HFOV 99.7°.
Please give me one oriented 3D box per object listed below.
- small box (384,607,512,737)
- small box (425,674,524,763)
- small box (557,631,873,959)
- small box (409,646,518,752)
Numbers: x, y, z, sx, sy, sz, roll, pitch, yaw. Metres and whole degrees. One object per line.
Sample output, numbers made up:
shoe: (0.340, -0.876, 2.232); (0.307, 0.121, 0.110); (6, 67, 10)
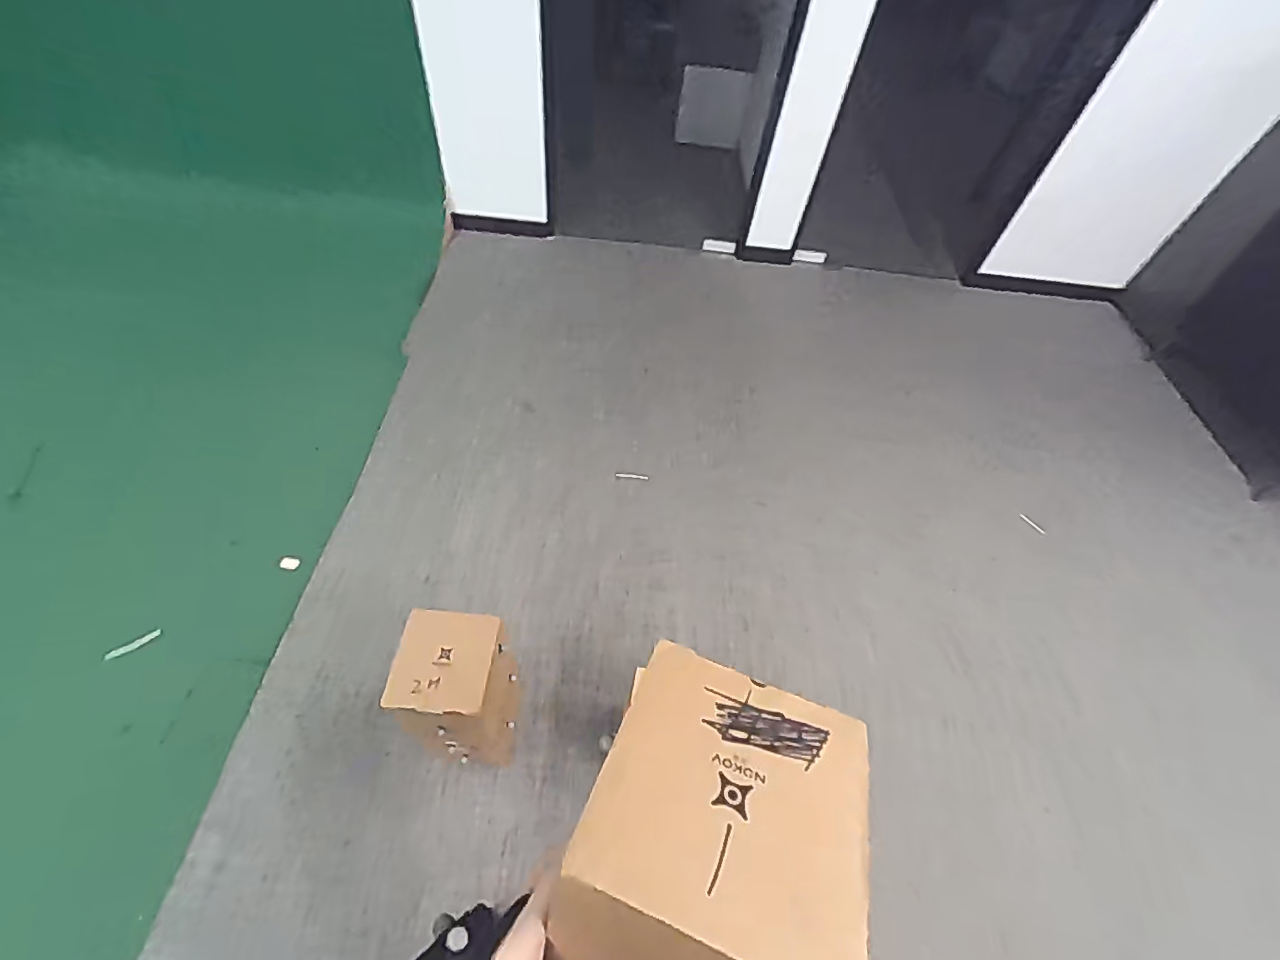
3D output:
small box: (-0.340, 0.357, 0.999); (0.168, 0.176, 0.179); (5, 53, -1)
small box: (-0.374, 0.548, 1.263); (0.168, 0.176, 0.179); (9, 53, 0)
small box: (0.050, 0.250, 0.384); (0.168, 0.176, 0.179); (19, 34, 12)
small box: (-0.357, 0.453, 1.133); (0.168, 0.176, 0.179); (5, 54, -1)
